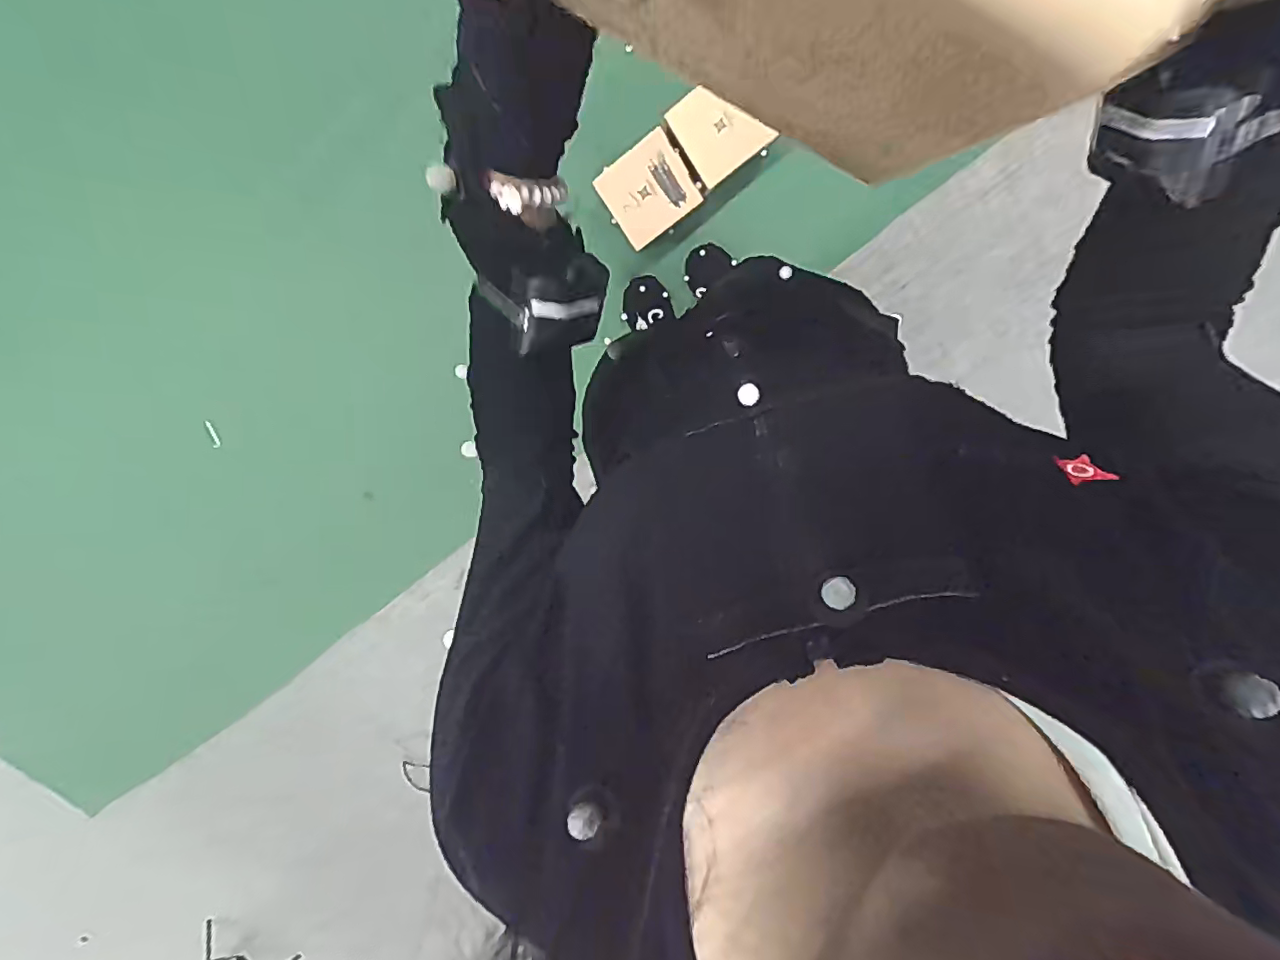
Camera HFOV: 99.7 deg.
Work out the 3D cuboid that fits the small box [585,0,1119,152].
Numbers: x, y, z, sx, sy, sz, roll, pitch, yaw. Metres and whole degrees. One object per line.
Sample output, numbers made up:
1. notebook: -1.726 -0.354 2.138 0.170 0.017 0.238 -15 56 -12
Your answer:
1. small box: 0.052 -0.207 0.136 0.179 0.176 0.168 28 120 -5
